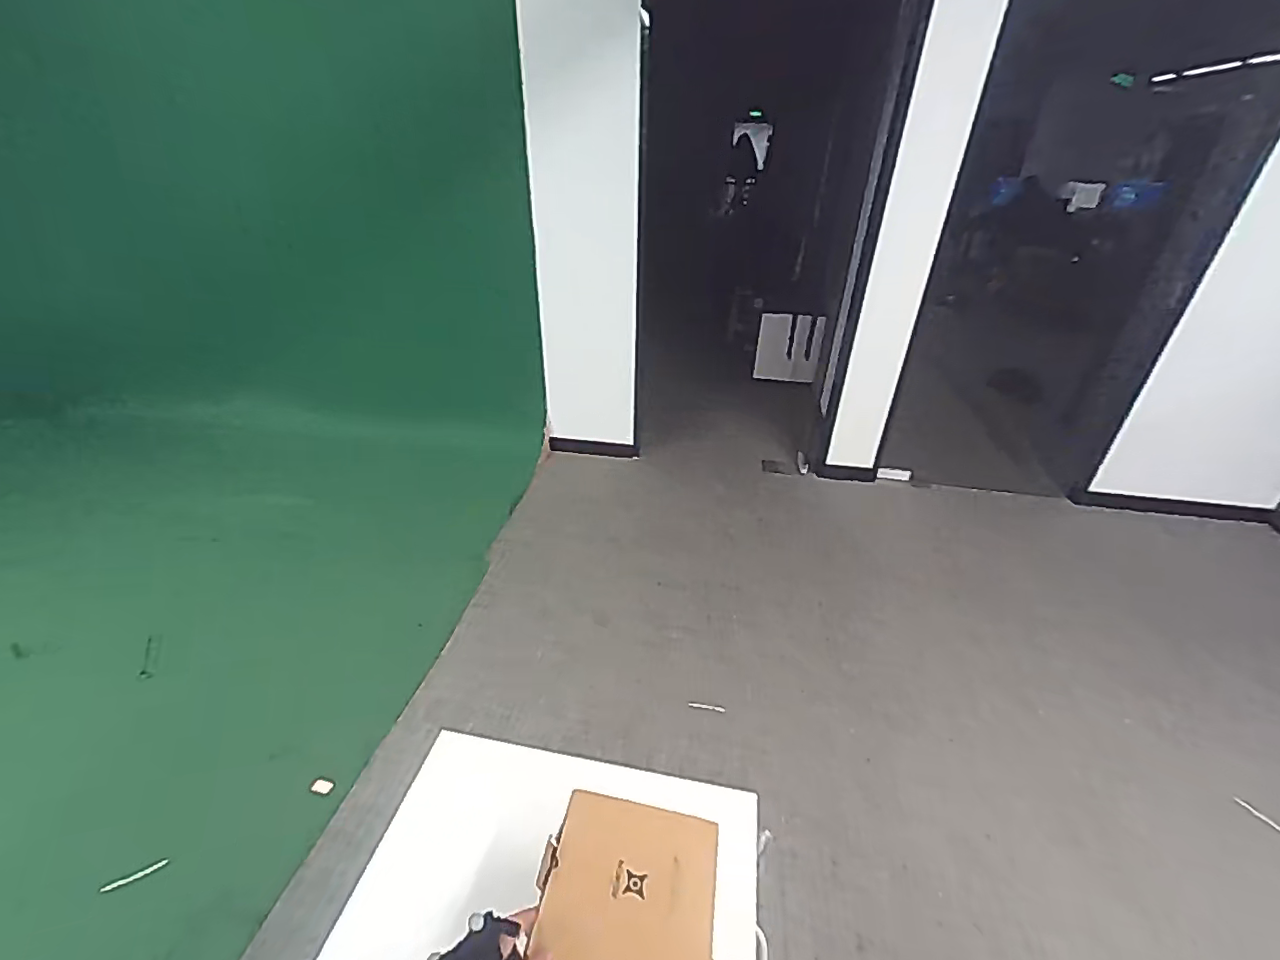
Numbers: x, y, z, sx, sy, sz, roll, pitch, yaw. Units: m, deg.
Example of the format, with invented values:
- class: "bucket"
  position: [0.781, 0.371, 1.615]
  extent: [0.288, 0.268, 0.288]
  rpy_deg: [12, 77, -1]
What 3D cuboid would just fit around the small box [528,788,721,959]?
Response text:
- class: "small box"
  position: [-0.014, 0.482, 0.596]
  extent: [0.179, 0.176, 0.168]
  rpy_deg: [10, 30, 6]
